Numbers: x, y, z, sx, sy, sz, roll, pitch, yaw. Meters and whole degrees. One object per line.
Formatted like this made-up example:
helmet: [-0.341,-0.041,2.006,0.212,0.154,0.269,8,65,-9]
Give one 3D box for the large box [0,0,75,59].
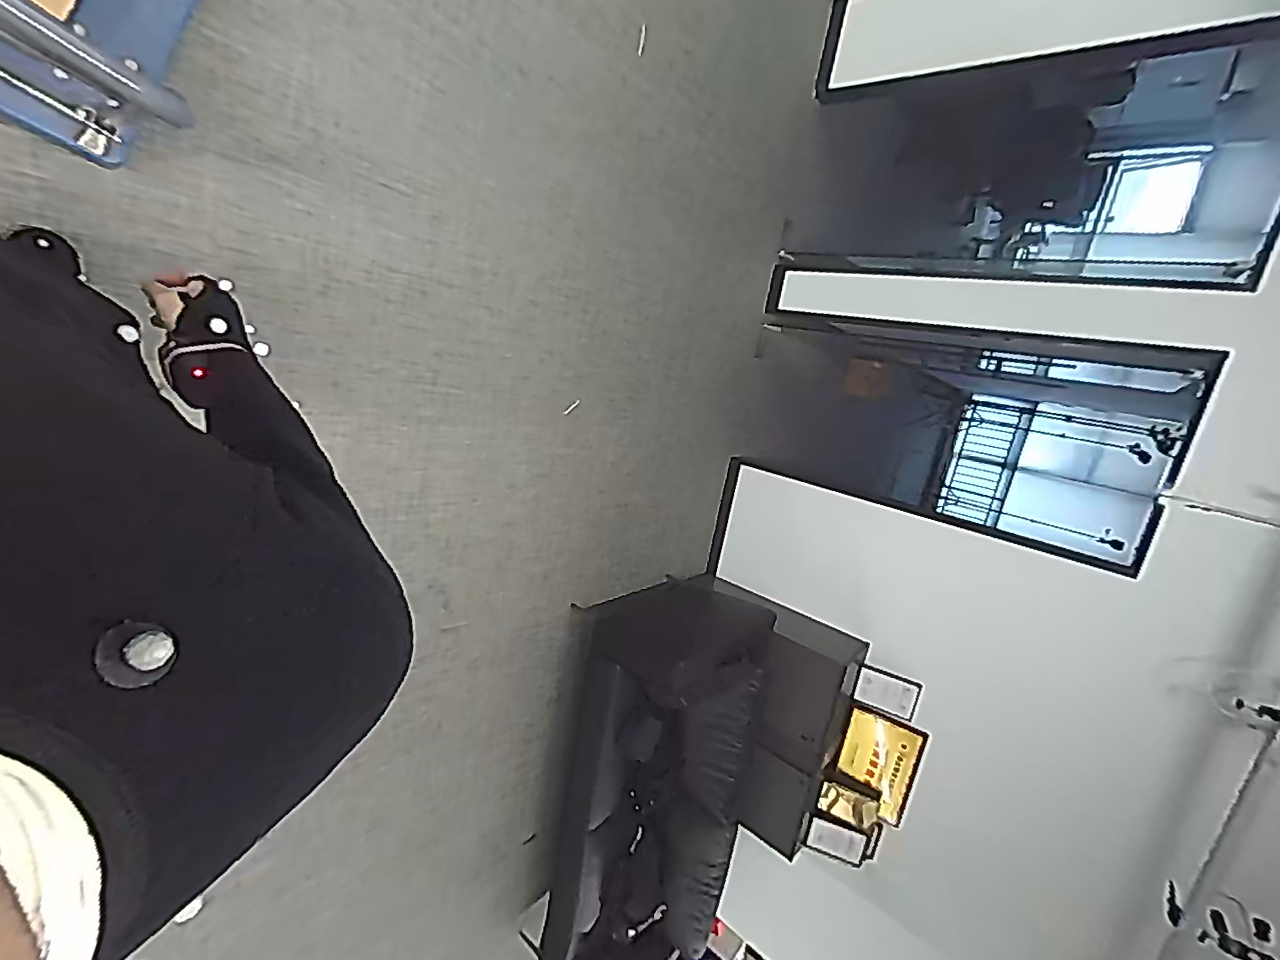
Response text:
large box: [-0.914,-0.884,0.706,0.320,0.320,0.408,24,85,-54]
